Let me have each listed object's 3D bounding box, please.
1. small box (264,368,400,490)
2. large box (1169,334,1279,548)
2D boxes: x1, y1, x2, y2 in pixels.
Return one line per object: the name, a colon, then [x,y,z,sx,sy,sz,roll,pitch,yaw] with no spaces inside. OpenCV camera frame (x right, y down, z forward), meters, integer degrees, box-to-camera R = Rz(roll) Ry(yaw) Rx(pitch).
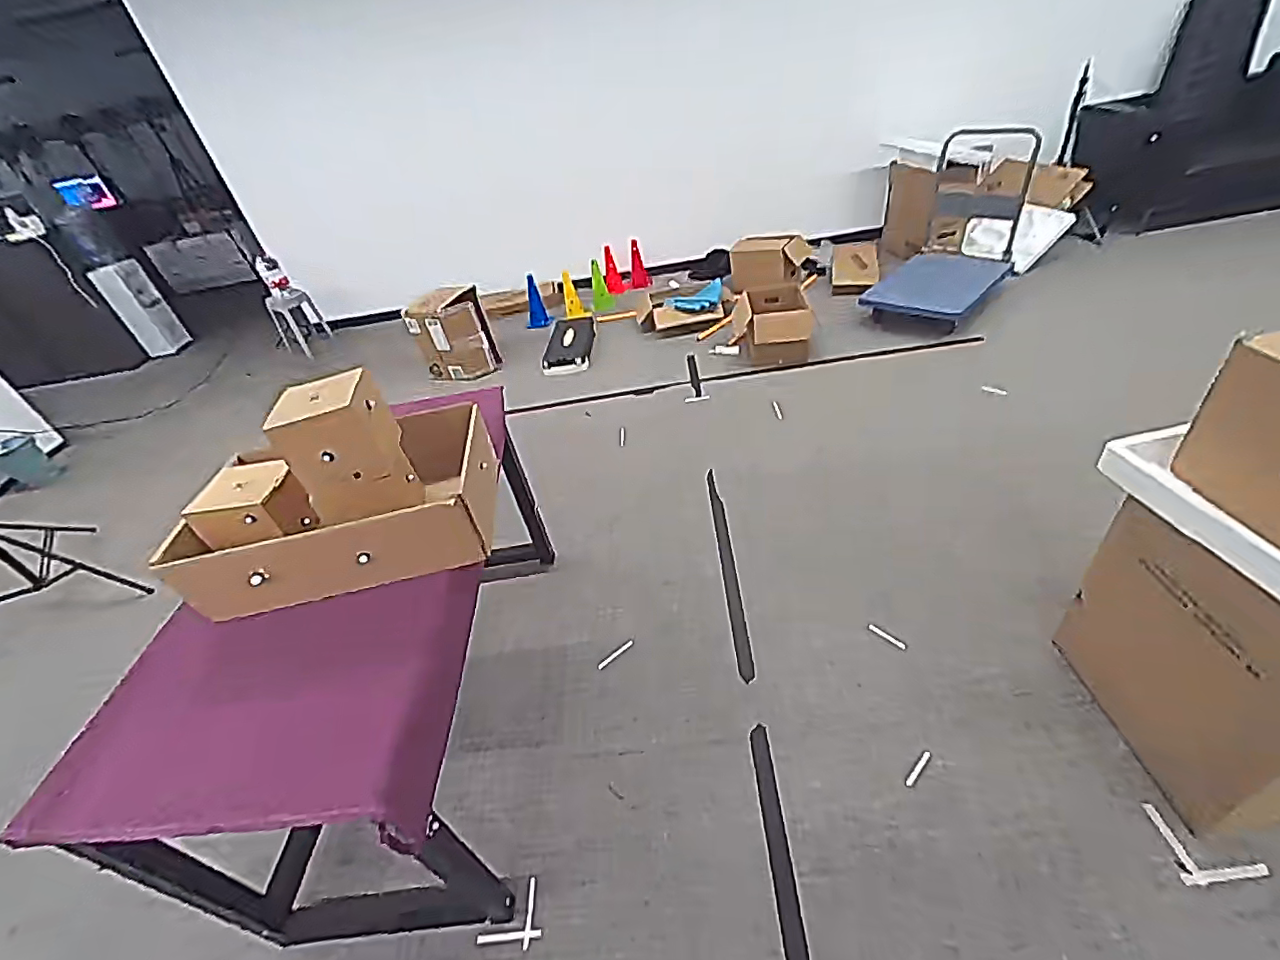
small box: [-0.611,-0.099,1.101,0.168,0.176,0.179,-17,37,-4]
large box: [1.276,-0.041,0.917,0.320,0.320,0.408,-10,36,1]
